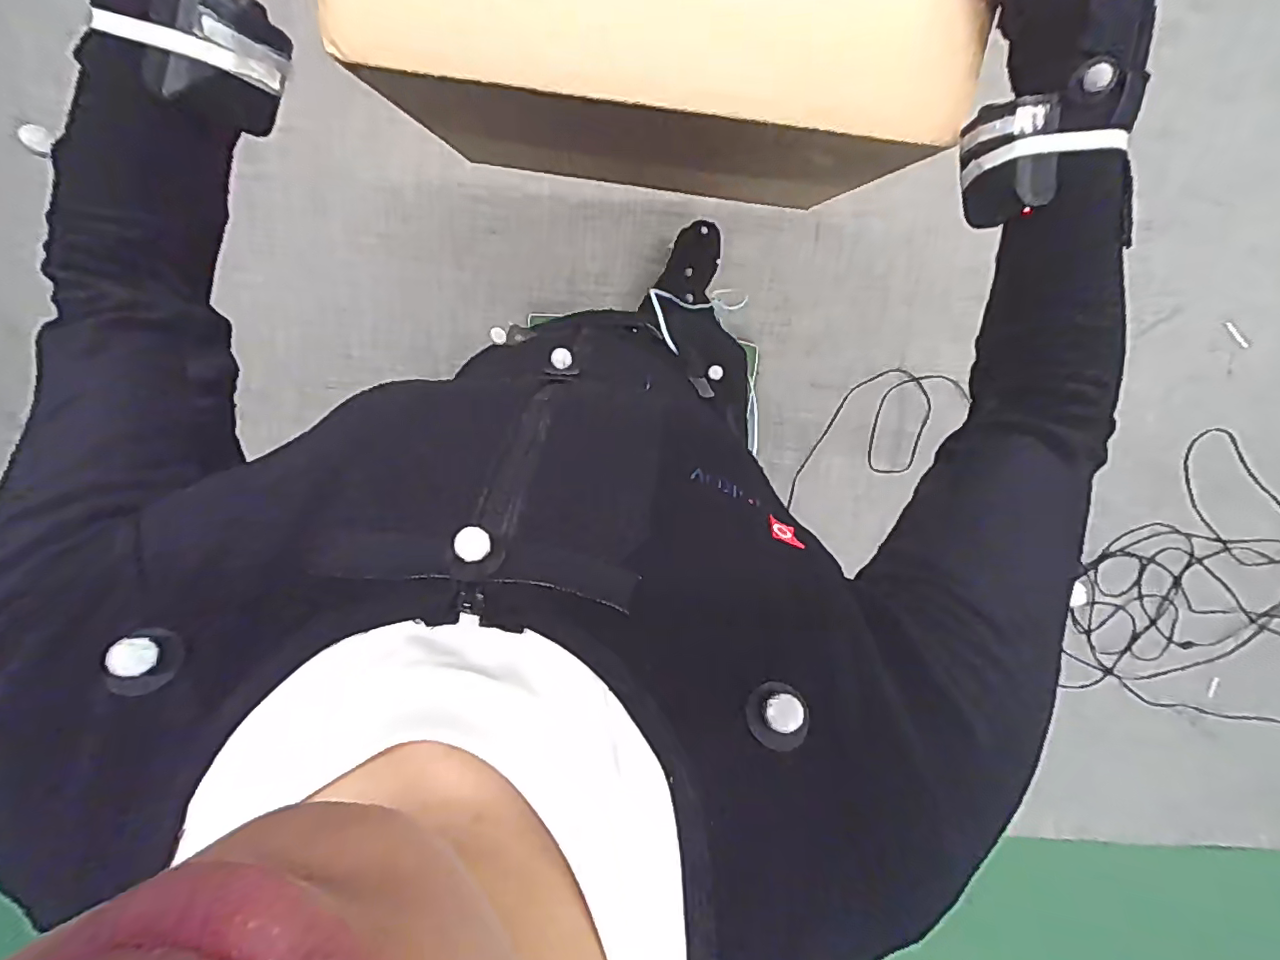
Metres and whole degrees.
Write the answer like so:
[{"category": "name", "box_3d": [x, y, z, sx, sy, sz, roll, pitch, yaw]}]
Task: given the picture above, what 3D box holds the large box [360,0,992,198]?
[{"category": "large box", "box_3d": [0.029, -0.445, 0.445, 0.408, 0.320, 0.320, 5, 110, -4]}]
